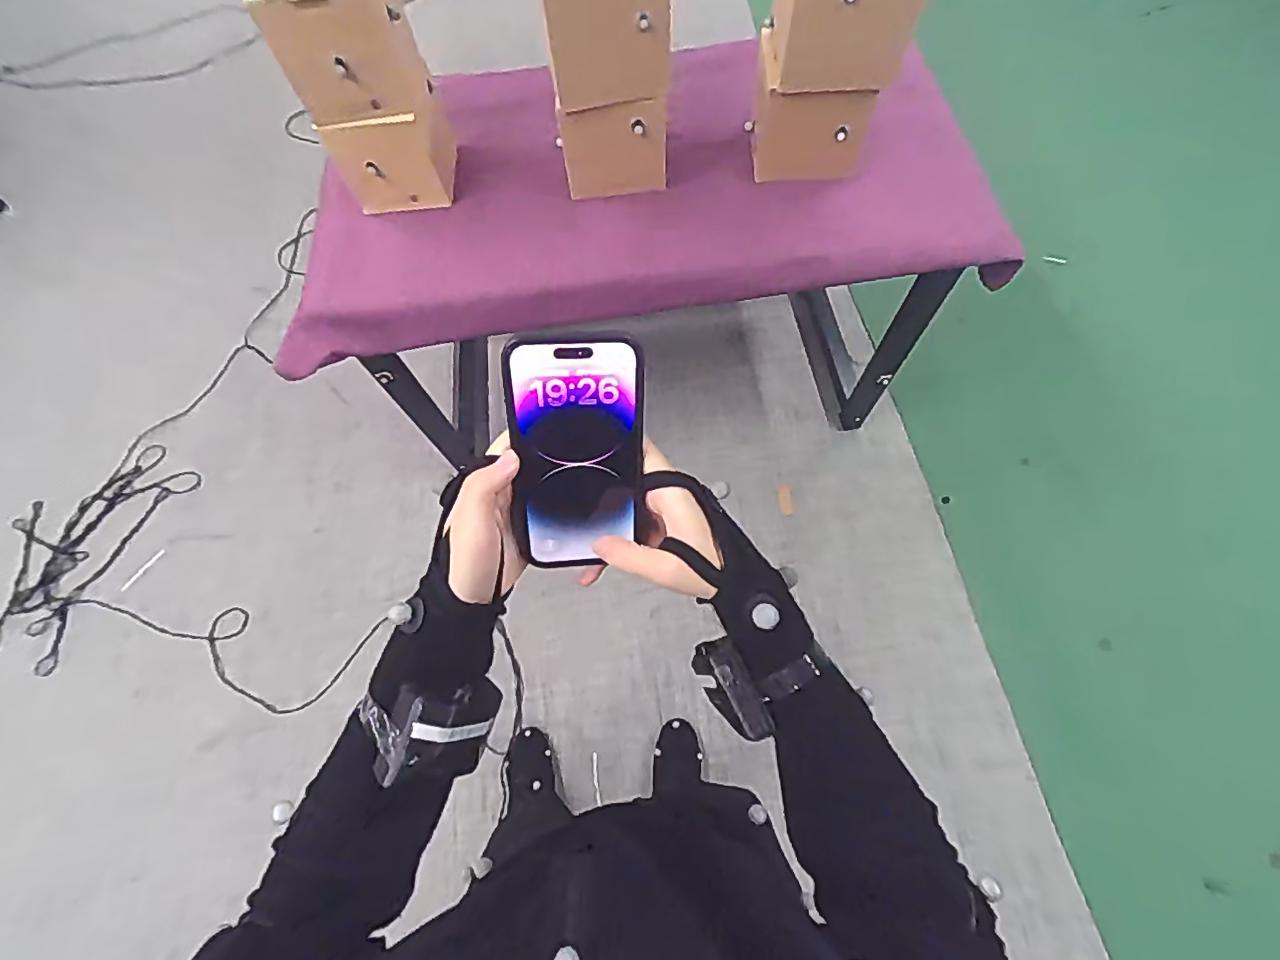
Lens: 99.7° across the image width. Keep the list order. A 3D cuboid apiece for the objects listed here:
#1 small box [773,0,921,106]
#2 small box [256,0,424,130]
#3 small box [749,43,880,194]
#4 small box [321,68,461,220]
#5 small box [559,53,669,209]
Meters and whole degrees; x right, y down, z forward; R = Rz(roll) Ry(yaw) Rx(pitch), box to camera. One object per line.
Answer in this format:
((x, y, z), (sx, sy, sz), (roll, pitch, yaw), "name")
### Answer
((0.298, -0.686, 0.799), (0.179, 0.176, 0.168), (0, 66, 2), "small box")
((-0.443, -0.668, 0.828), (0.168, 0.176, 0.179), (-9, 66, -2), "small box")
((0.296, -0.632, 0.954), (0.179, 0.176, 0.168), (0, 65, 3), "small box")
((-0.434, -0.594, 0.974), (0.168, 0.176, 0.179), (-5, 66, 1), "small box")
((-0.044, -0.613, 0.961), (0.179, 0.176, 0.168), (-5, 66, 1), "small box")
